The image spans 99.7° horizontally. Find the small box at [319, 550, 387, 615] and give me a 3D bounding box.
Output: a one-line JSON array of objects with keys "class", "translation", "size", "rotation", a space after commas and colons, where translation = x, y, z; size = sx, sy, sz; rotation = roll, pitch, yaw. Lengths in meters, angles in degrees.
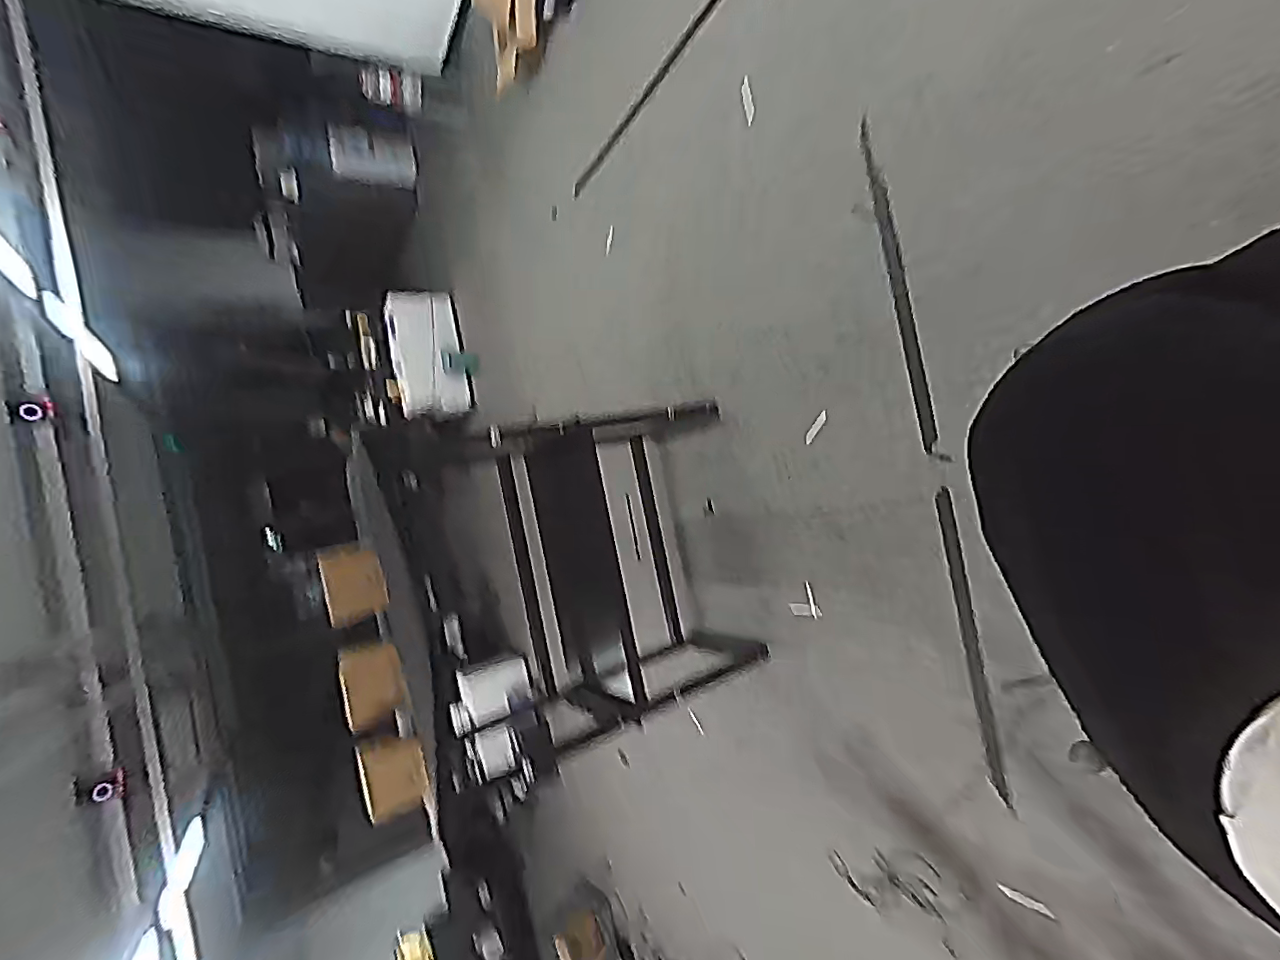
[{"class": "small box", "translation": [-0.931, 0.334, 1.754], "size": [0.179, 0.176, 0.168], "rotation": [-27, 77, 56]}]

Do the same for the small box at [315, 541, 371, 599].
[{"class": "small box", "translation": [-1.053, 0.317, 1.936], "size": [0.168, 0.176, 0.179], "rotation": [-9, 92, 58]}]

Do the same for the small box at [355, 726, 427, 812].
[{"class": "small box", "translation": [-0.777, 0.890, 1.687], "size": [0.179, 0.176, 0.168], "rotation": [-19, 84, 56]}]
